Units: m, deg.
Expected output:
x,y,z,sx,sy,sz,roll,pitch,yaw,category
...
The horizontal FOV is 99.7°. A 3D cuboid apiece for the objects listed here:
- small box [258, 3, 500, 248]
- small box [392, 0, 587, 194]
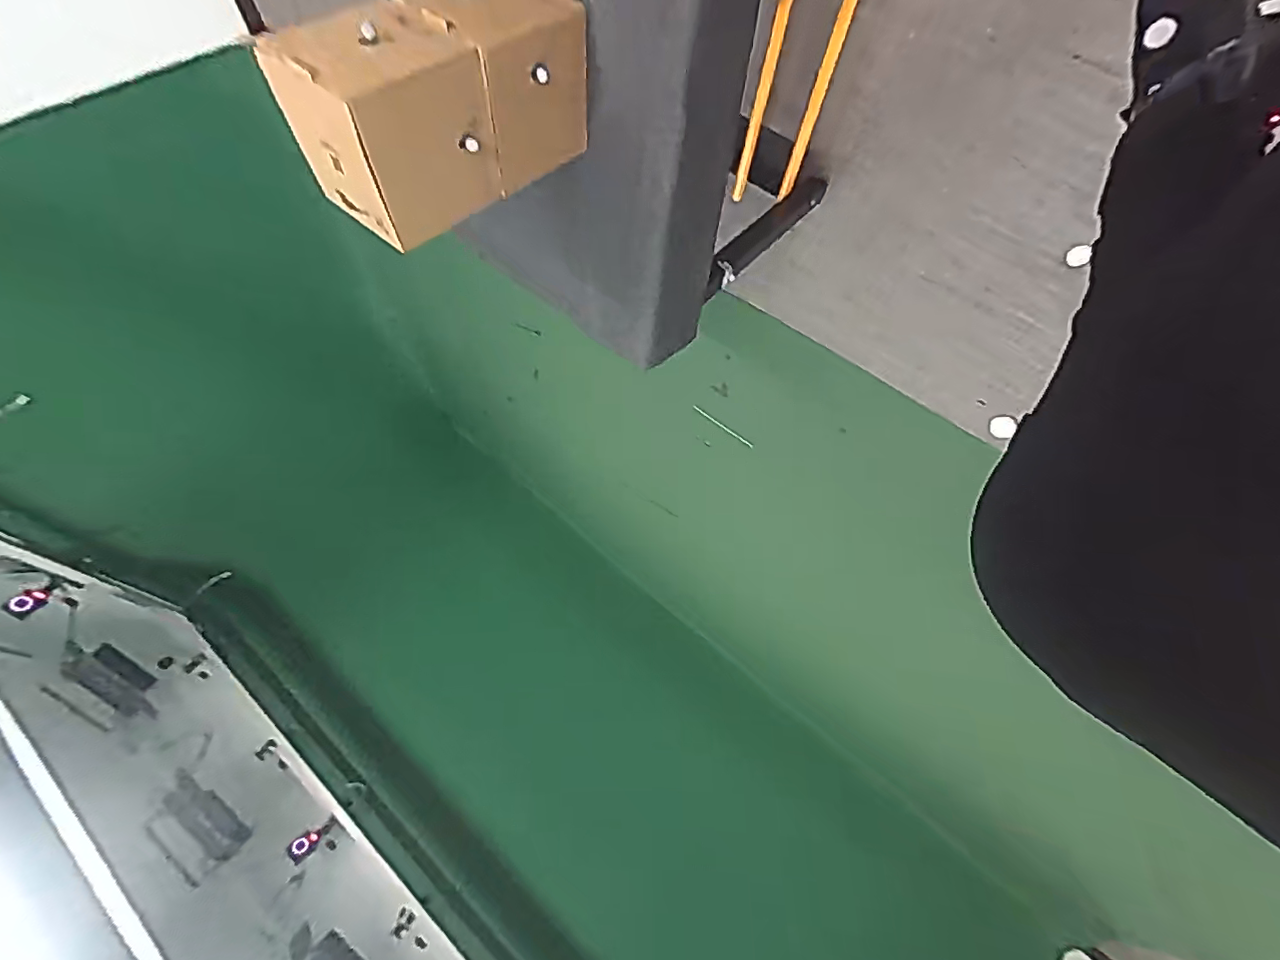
x,y,z,sx,sy,sz,roll,pitch,yaw,category
-0.294,-0.427,0.651,0.168,0.176,0.179,38,154,17,small box
-0.183,-0.529,0.715,0.168,0.176,0.179,39,155,16,small box
